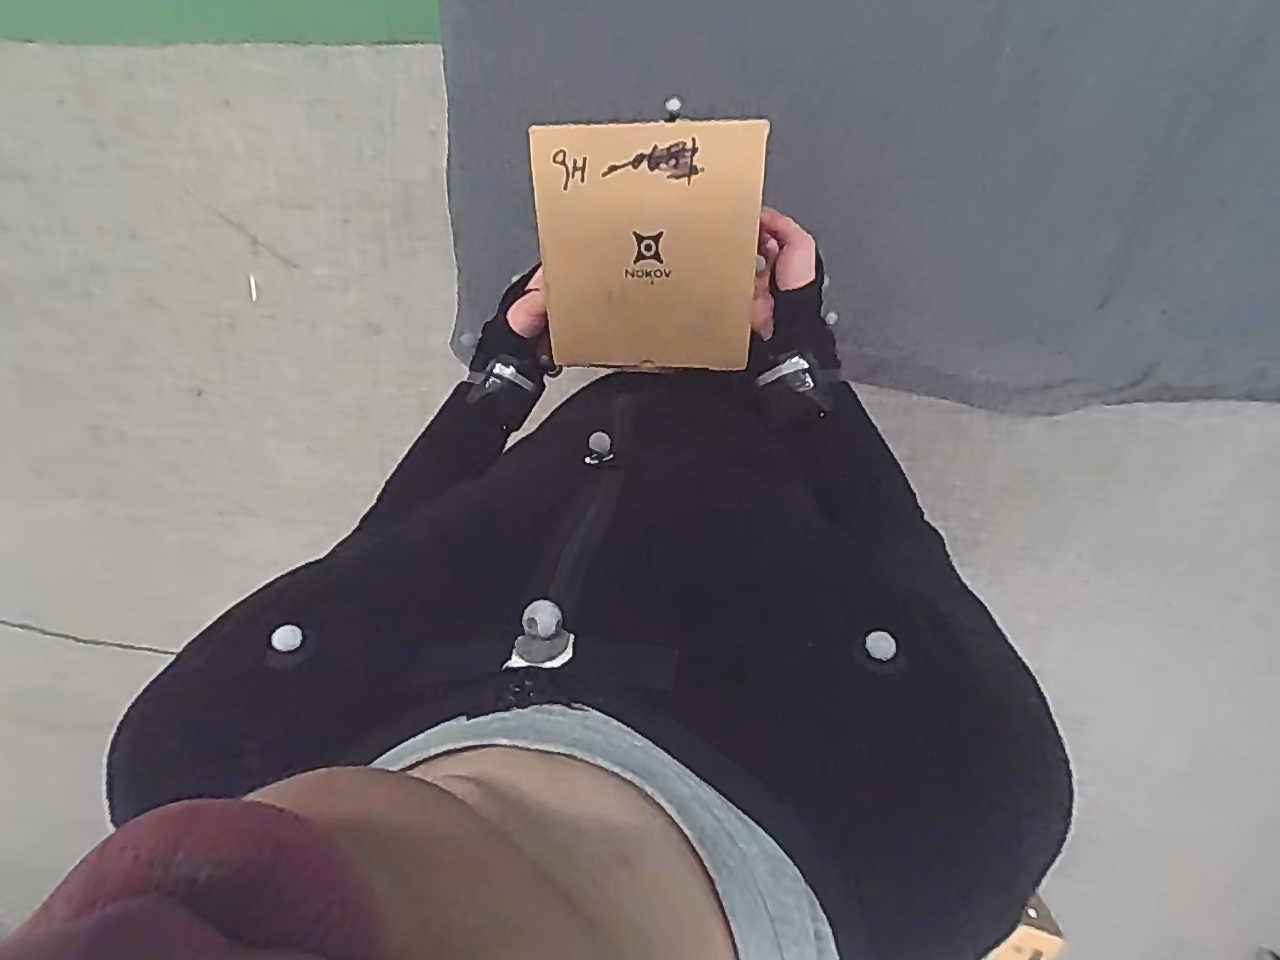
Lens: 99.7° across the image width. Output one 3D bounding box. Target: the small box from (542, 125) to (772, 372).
[{"bbox_3d":[0.020,-0.214,0.490,0.168,0.176,0.179,2,124,5],"label":"small box"}]
